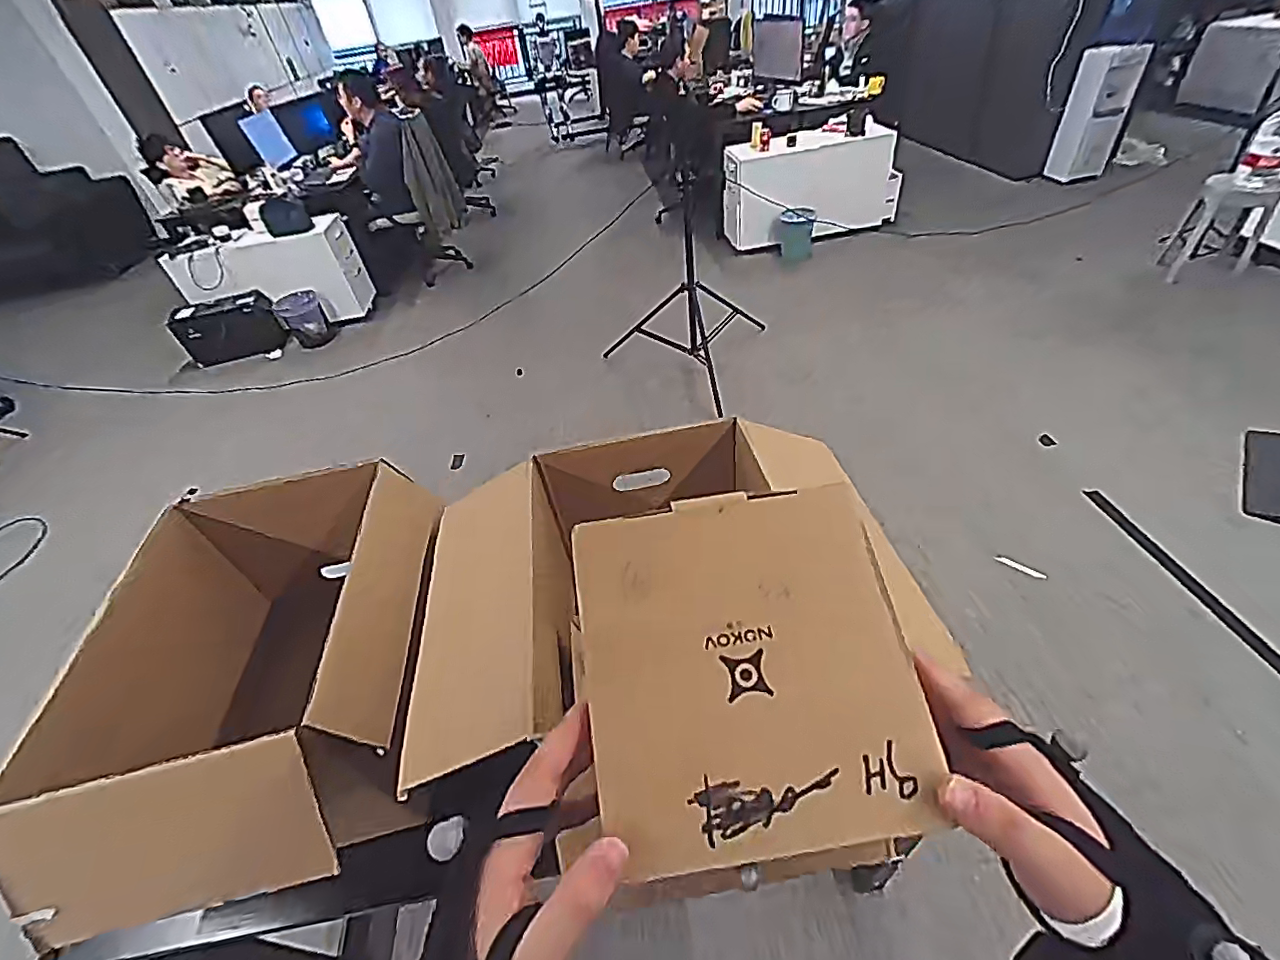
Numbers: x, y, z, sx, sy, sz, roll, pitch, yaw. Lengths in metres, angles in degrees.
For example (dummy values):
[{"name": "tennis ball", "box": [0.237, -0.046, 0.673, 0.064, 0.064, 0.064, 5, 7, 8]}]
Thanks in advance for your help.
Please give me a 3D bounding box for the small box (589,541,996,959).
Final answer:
[{"name": "small box", "box": [0.065, 0.157, 0.338, 0.168, 0.176, 0.179, -9, 64, -1]}]
